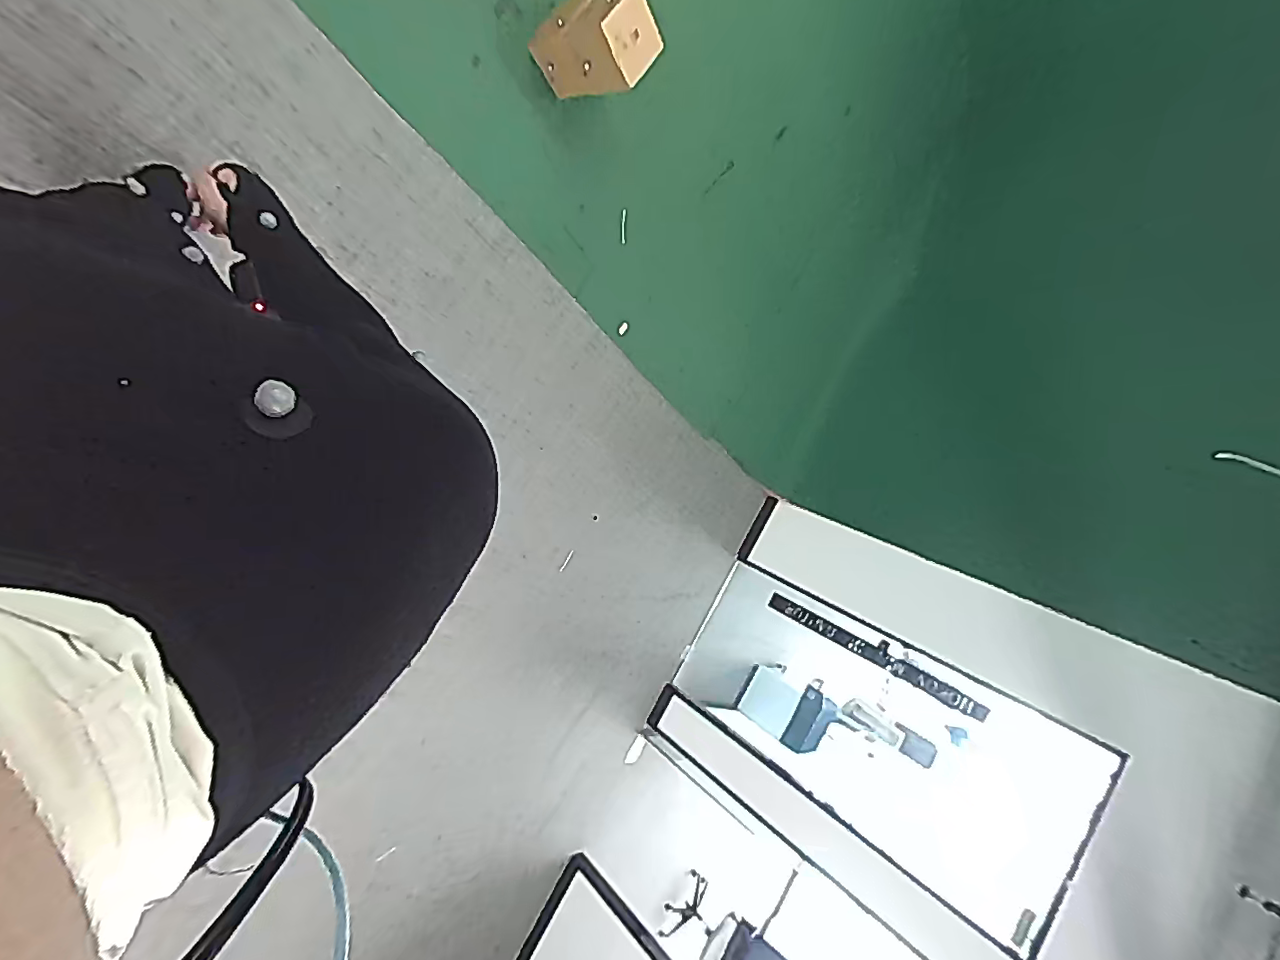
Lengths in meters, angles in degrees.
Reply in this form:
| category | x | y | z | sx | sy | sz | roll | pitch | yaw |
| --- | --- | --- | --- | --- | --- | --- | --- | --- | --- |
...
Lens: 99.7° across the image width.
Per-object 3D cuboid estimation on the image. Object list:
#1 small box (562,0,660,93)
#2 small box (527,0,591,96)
| category | x | y | z | sx | sy | sz | roll | pitch | yaw |
| --- | --- | --- | --- | --- | --- | --- | --- | --- | --- |
| small box | -0.081 | -1.207 | 1.484 | 0.179 | 0.176 | 0.168 | -56 | 141 | -9 |
| small box | -0.196 | -1.268 | 1.585 | 0.179 | 0.176 | 0.168 | -57 | 141 | -8 |
